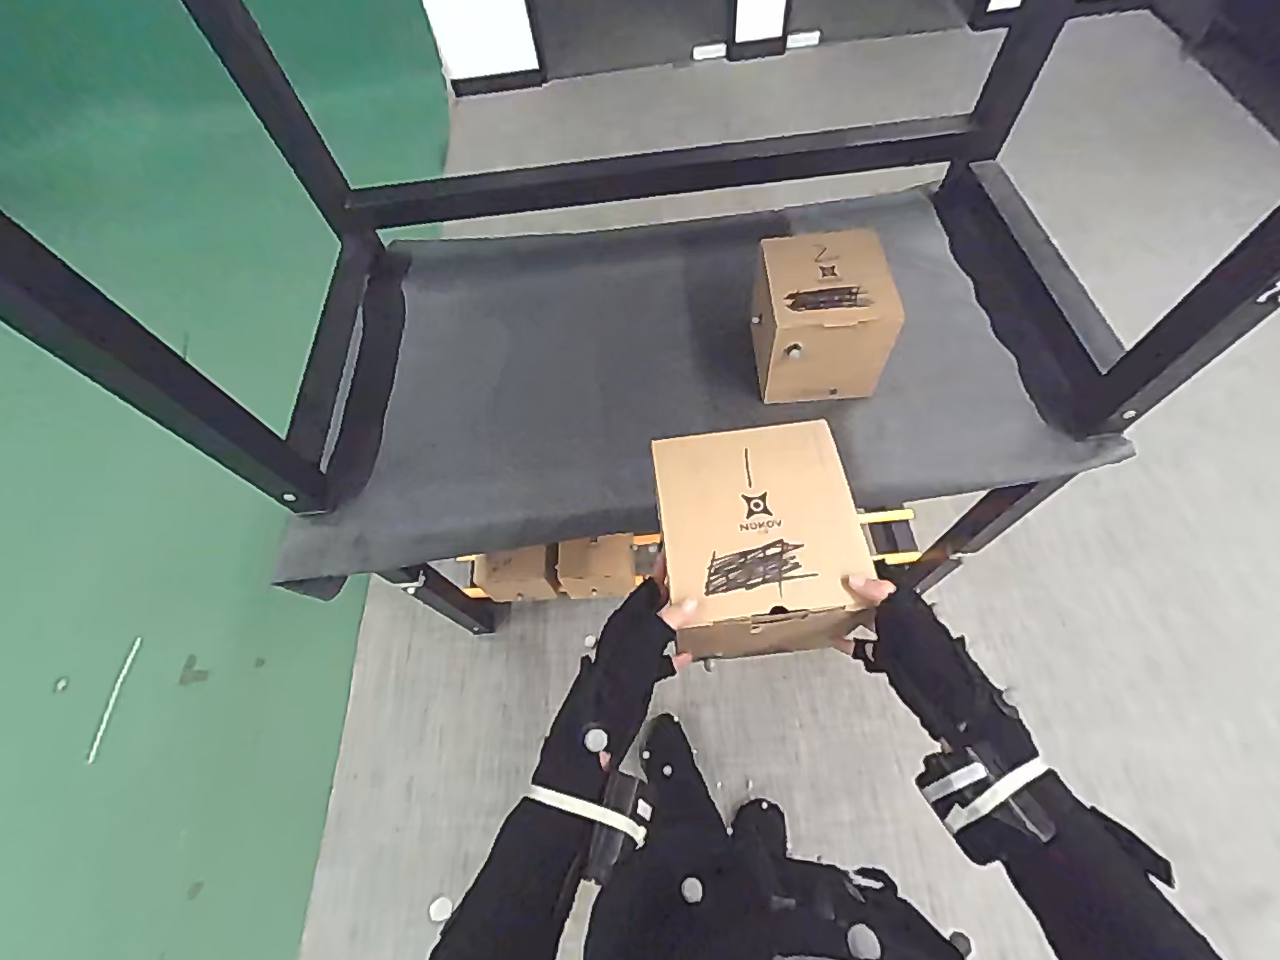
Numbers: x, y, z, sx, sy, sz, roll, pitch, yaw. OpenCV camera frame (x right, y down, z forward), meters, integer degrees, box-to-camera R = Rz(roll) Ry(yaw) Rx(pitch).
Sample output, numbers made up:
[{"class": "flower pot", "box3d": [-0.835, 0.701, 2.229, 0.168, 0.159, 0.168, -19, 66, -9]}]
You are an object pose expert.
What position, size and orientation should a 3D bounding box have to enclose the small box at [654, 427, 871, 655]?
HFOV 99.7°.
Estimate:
[{"class": "small box", "box3d": [0.108, 0.072, 0.547, 0.168, 0.176, 0.179, -7, 60, 2]}]
